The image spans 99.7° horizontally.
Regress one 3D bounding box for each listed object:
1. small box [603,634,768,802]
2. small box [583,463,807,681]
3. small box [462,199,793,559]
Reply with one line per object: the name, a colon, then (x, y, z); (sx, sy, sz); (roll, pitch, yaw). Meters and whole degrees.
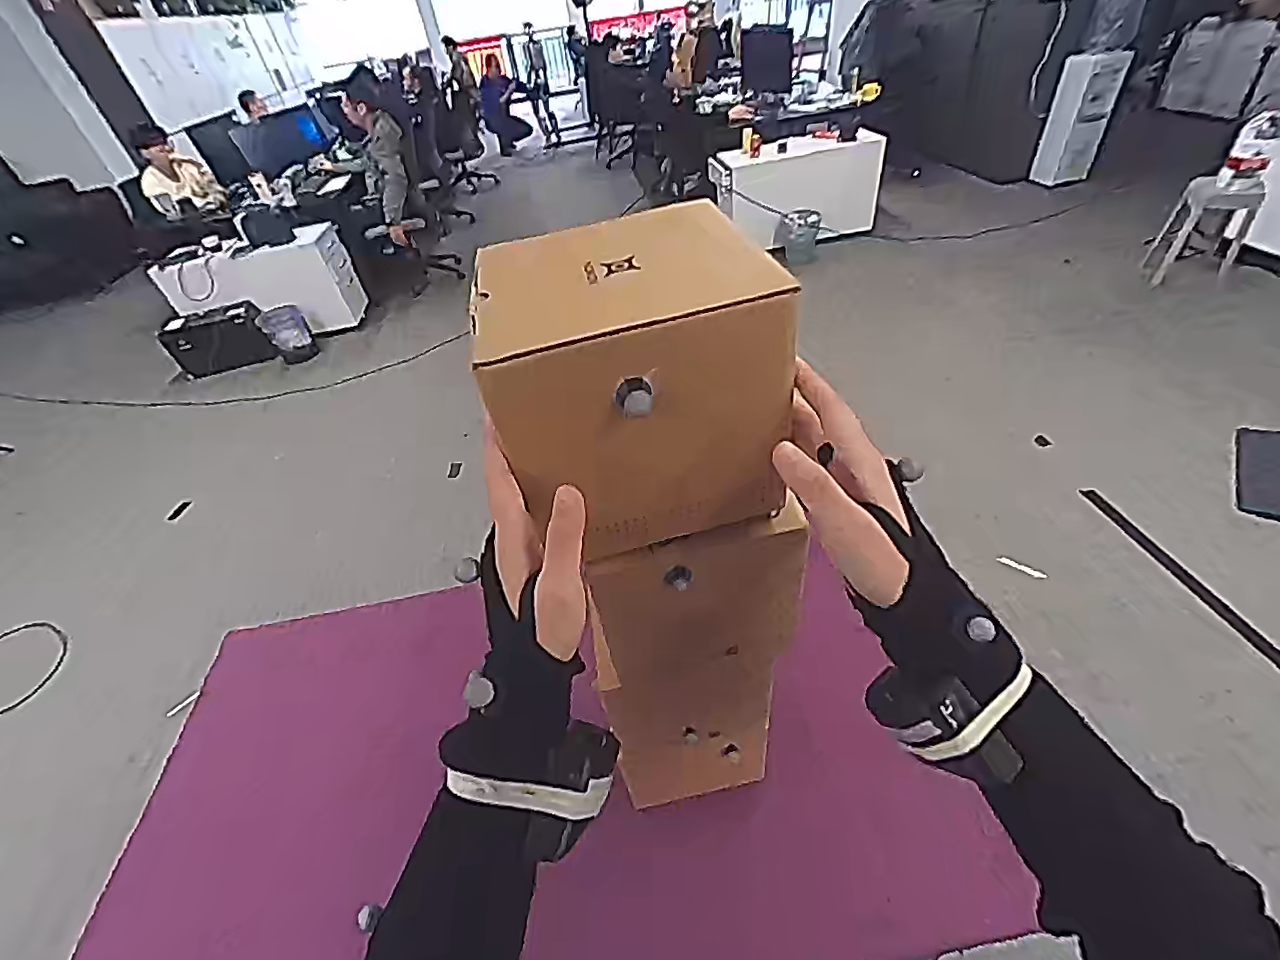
small box: (0.057, 0.296, 0.716); (0.179, 0.176, 0.168); (-12, 41, -2)
small box: (0.036, 0.052, 0.497); (0.168, 0.176, 0.179); (-12, 42, -3)
small box: (-0.008, -0.070, 0.384); (0.179, 0.176, 0.168); (-15, 43, -2)
